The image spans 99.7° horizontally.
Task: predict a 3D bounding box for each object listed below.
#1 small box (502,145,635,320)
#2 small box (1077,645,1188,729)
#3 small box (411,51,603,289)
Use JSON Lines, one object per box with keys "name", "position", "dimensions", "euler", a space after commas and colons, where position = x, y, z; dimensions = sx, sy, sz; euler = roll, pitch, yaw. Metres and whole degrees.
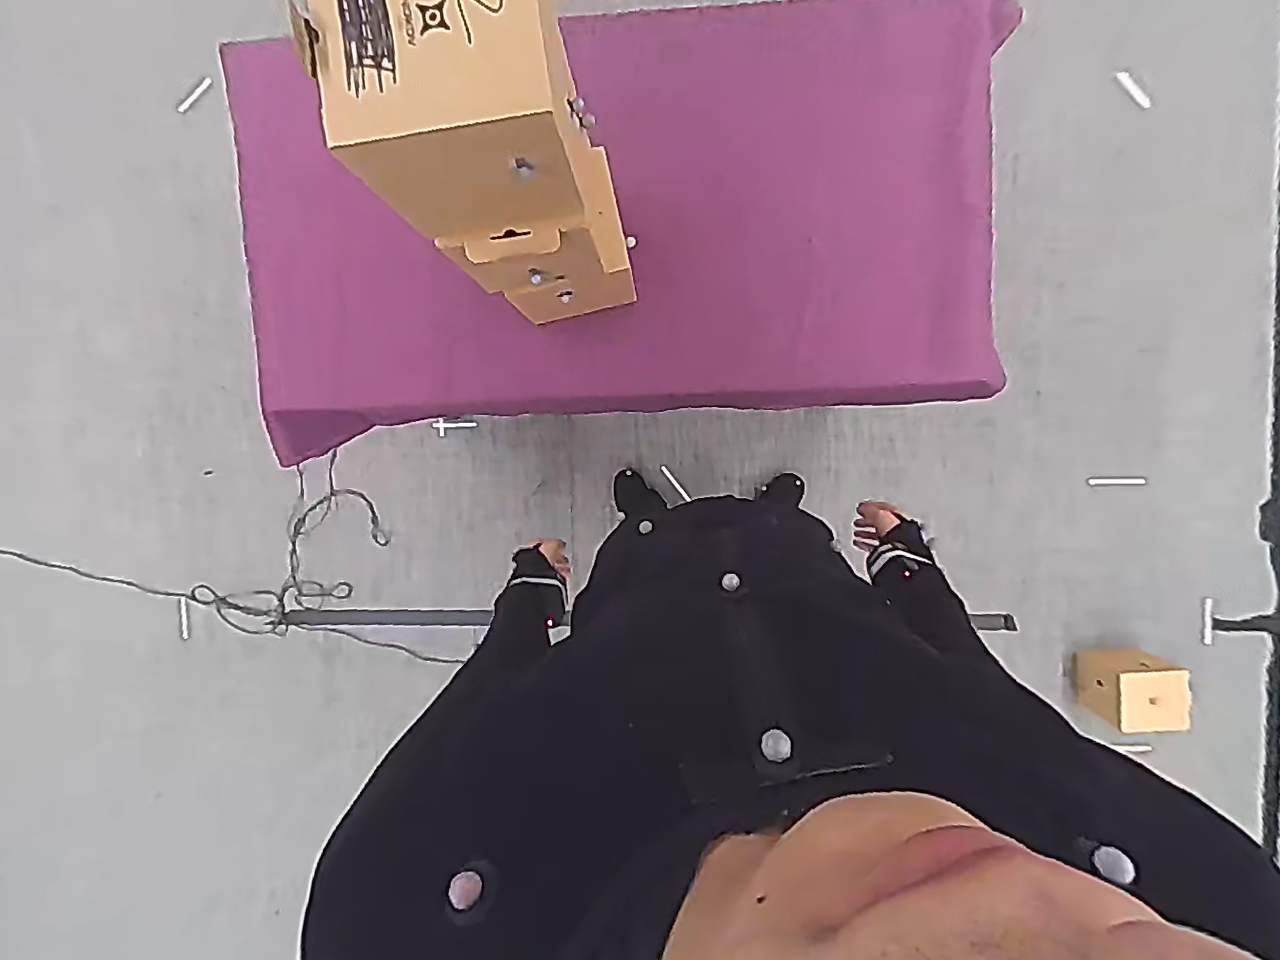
{"name": "small box", "position": [-0.112, -0.349, 0.798], "dimensions": [0.179, 0.176, 0.168], "euler": [-12, 93, 3]}
{"name": "small box", "position": [1.370, 0.575, 1.518], "dimensions": [0.179, 0.176, 0.168], "euler": [-5, 94, 3]}
{"name": "small box", "position": [-0.142, -0.344, 0.634], "dimensions": [0.168, 0.176, 0.179], "euler": [-7, 93, 4]}
